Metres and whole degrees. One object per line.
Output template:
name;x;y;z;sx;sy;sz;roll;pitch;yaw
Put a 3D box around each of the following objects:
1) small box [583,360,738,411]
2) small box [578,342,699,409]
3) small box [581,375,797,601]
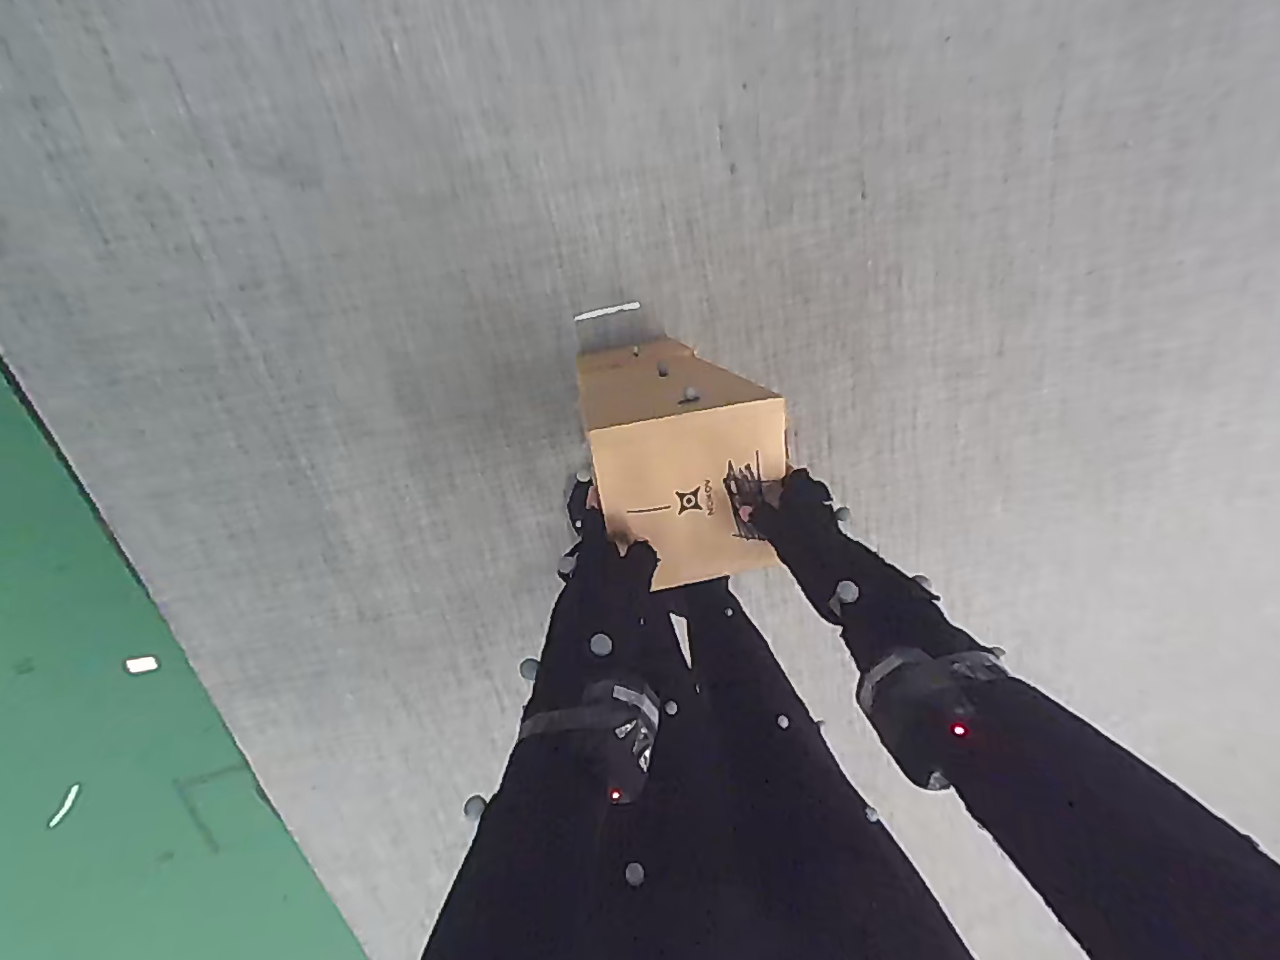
small box;0.024;-0.060;0.721;0.179;0.176;0.168;-9;111;-6
small box;0.001;-0.121;0.871;0.179;0.176;0.168;-12;110;-2
small box;0.043;-0.004;0.567;0.179;0.176;0.168;-13;111;-5
